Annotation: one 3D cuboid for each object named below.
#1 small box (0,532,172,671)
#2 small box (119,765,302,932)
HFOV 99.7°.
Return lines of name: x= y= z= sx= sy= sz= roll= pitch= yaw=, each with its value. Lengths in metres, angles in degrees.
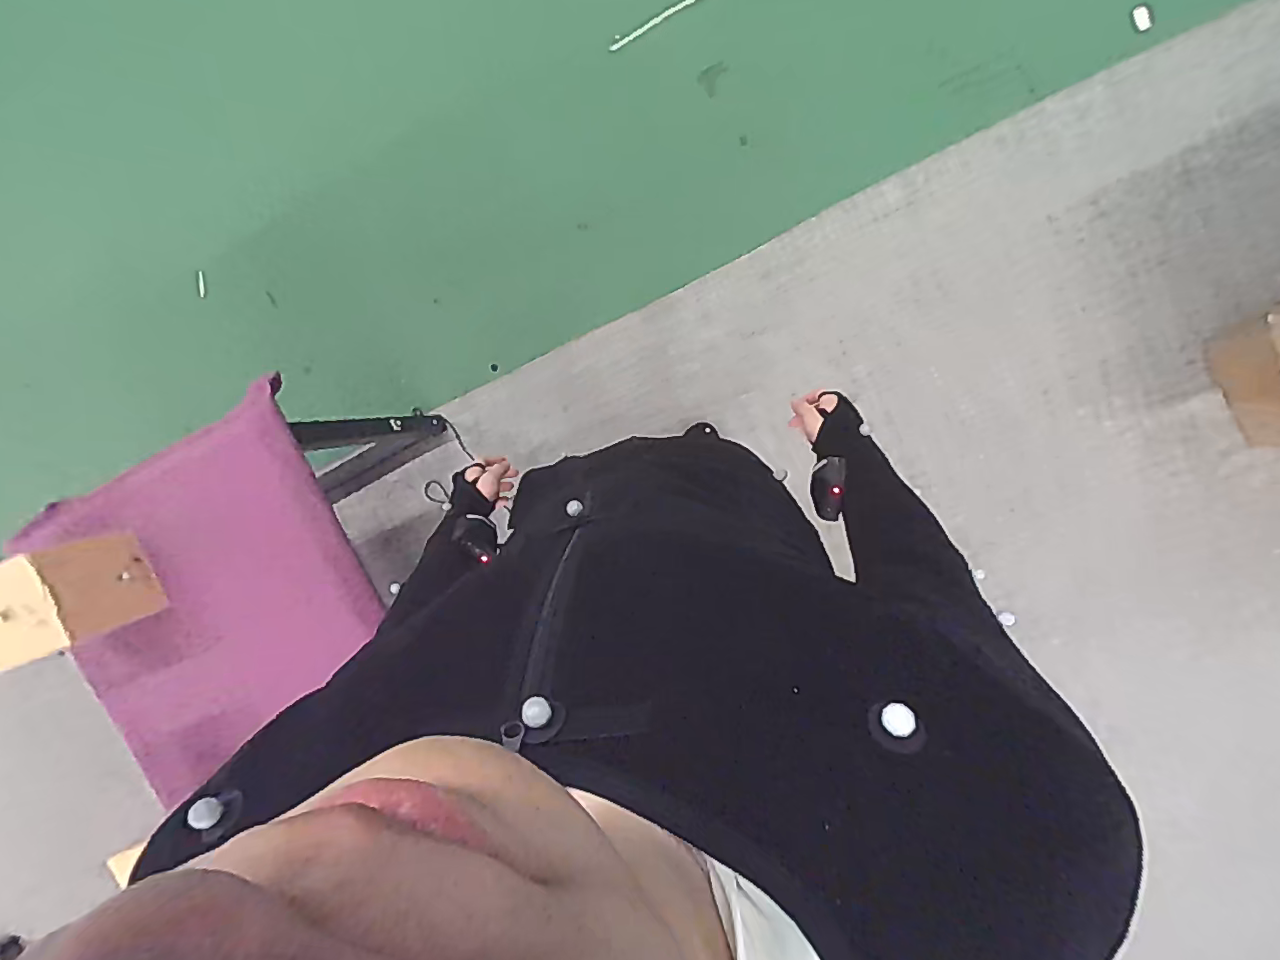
small box: x=-1.015 y=0.211 z=0.974 sx=0.179 sy=0.176 sz=0.168 roll=-21 pitch=96 yaw=10
small box: x=-0.791 y=0.679 z=1.013 sx=0.179 sy=0.176 sz=0.168 roll=-26 pitch=93 yaw=10
